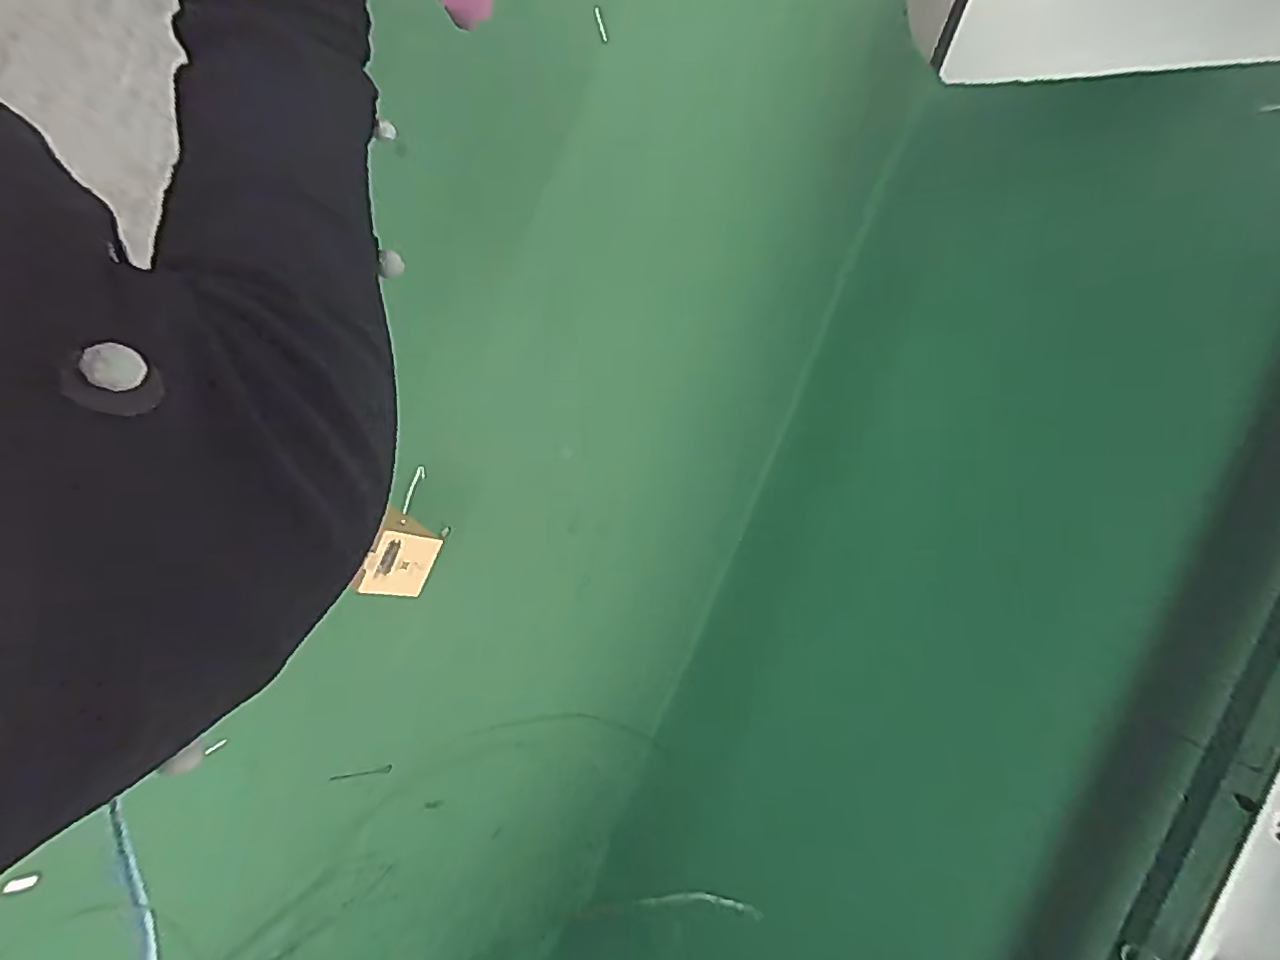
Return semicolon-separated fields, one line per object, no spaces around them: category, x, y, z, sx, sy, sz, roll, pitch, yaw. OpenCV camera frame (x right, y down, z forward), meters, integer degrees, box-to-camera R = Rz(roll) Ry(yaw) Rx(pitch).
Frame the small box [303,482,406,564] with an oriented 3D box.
small box;-0.796;0.117;1.499;0.179;0.176;0.168;20;93;-54
